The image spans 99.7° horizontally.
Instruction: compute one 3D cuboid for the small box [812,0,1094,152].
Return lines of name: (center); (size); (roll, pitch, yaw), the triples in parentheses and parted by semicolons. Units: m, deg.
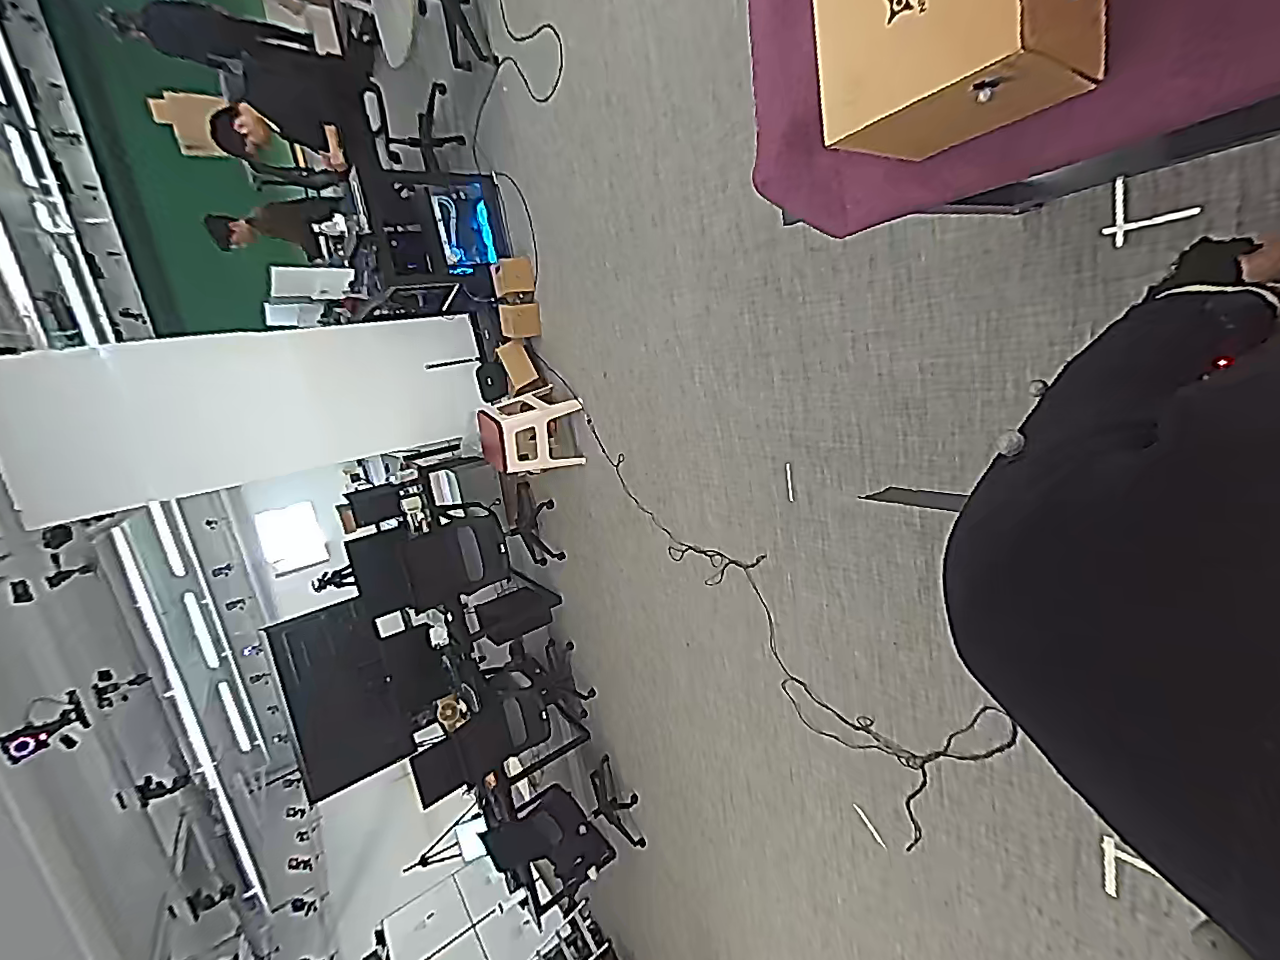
small box: (0.288, -0.431, 0.505); (0.179, 0.176, 0.168); (7, 110, 55)
